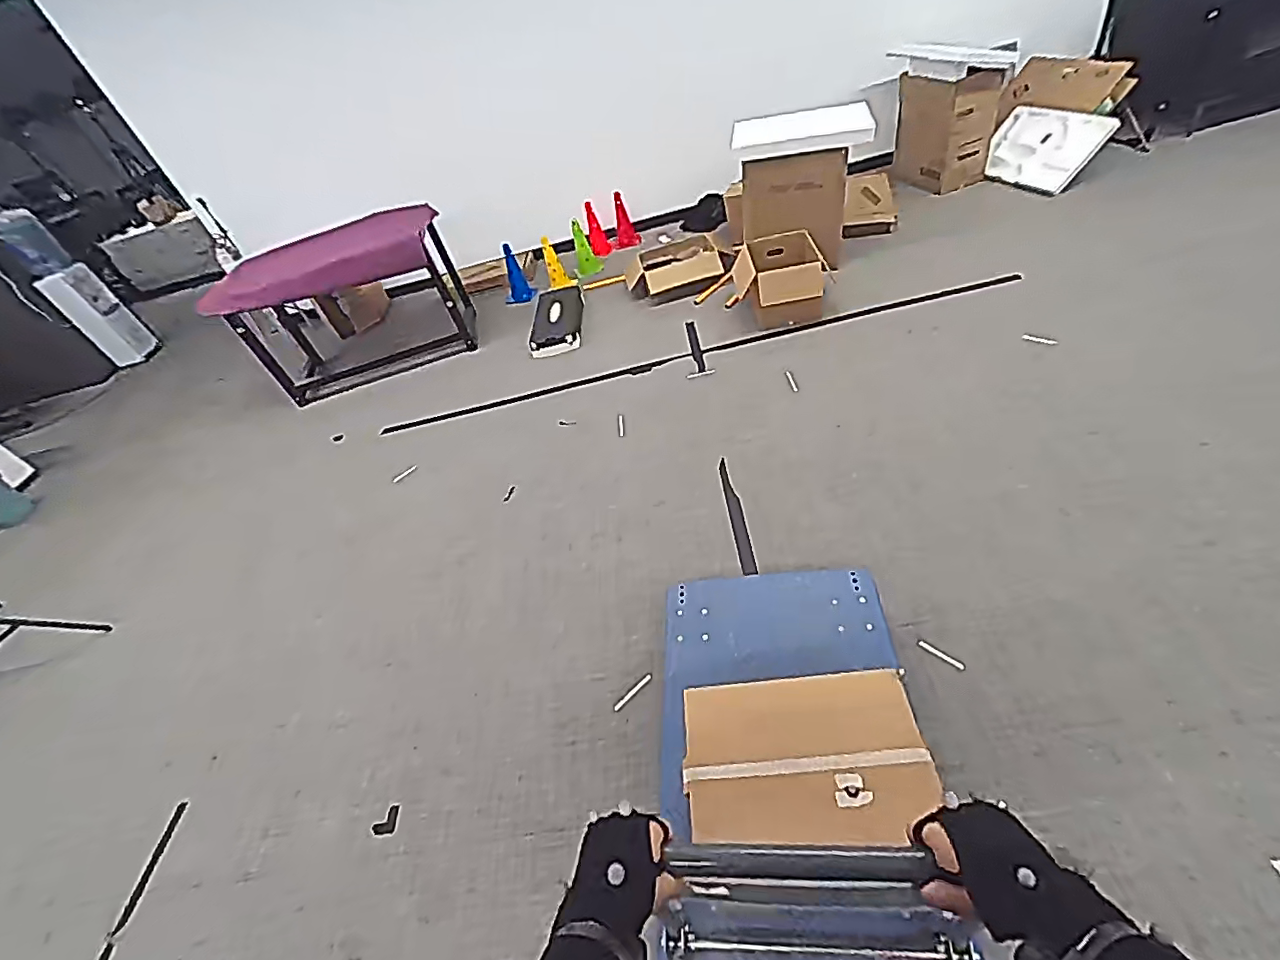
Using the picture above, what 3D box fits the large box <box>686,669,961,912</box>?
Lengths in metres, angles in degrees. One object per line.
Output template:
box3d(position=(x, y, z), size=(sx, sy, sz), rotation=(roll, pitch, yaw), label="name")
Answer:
box3d(position=(0.317, 0.600, 1.039), size=(0.408, 0.320, 0.320), rotation=(-9, 44, 8), label="large box")
